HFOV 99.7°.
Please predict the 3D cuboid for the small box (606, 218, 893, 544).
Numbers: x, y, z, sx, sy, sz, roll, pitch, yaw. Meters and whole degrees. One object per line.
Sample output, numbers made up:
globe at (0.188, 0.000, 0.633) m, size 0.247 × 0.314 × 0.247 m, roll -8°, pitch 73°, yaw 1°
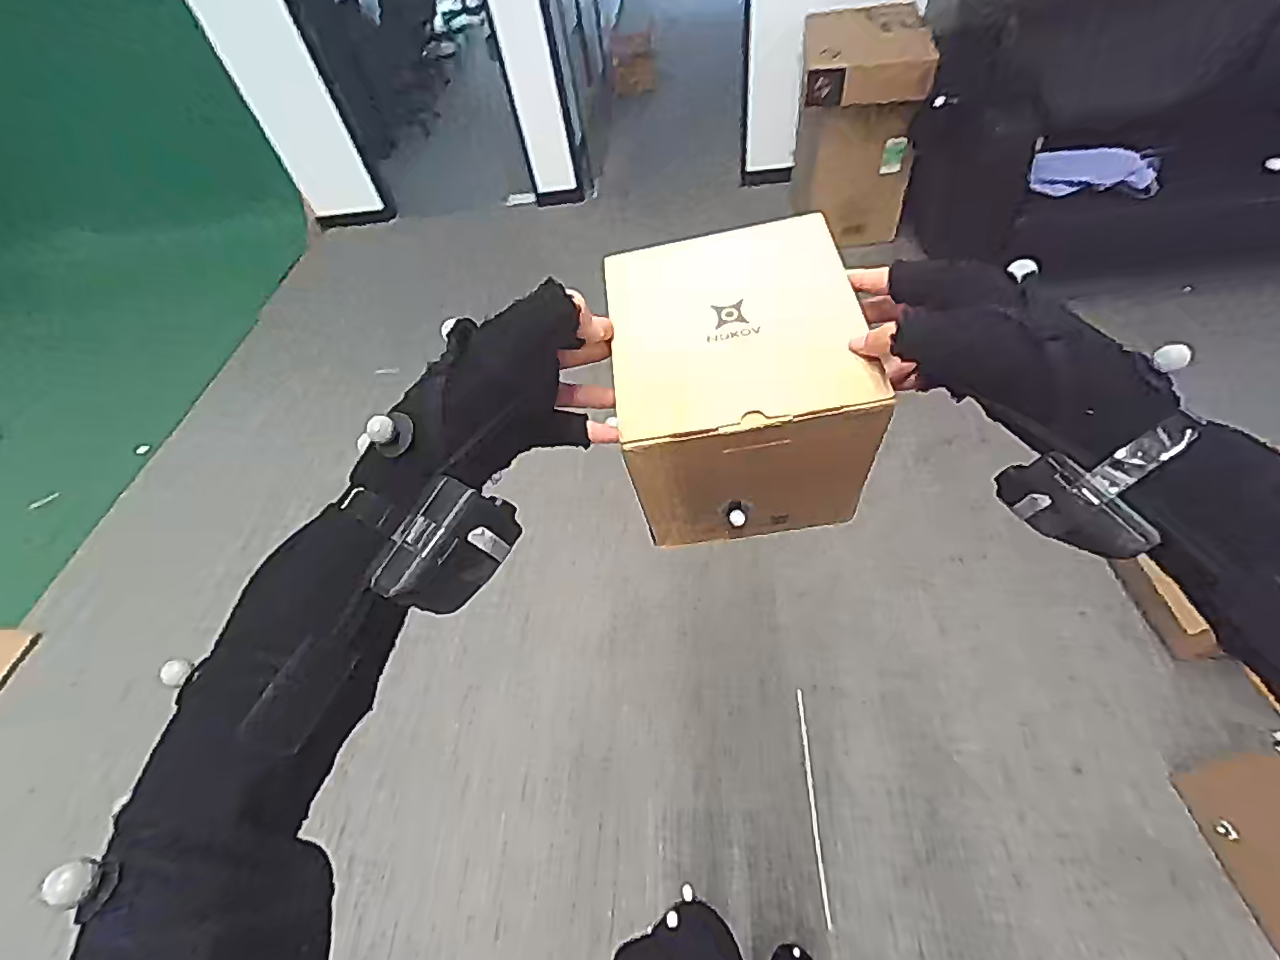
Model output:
small box at (0.073, -0.068, 0.431) m, size 0.168 × 0.176 × 0.179 m, roll -10°, pitch 61°, yaw 6°
